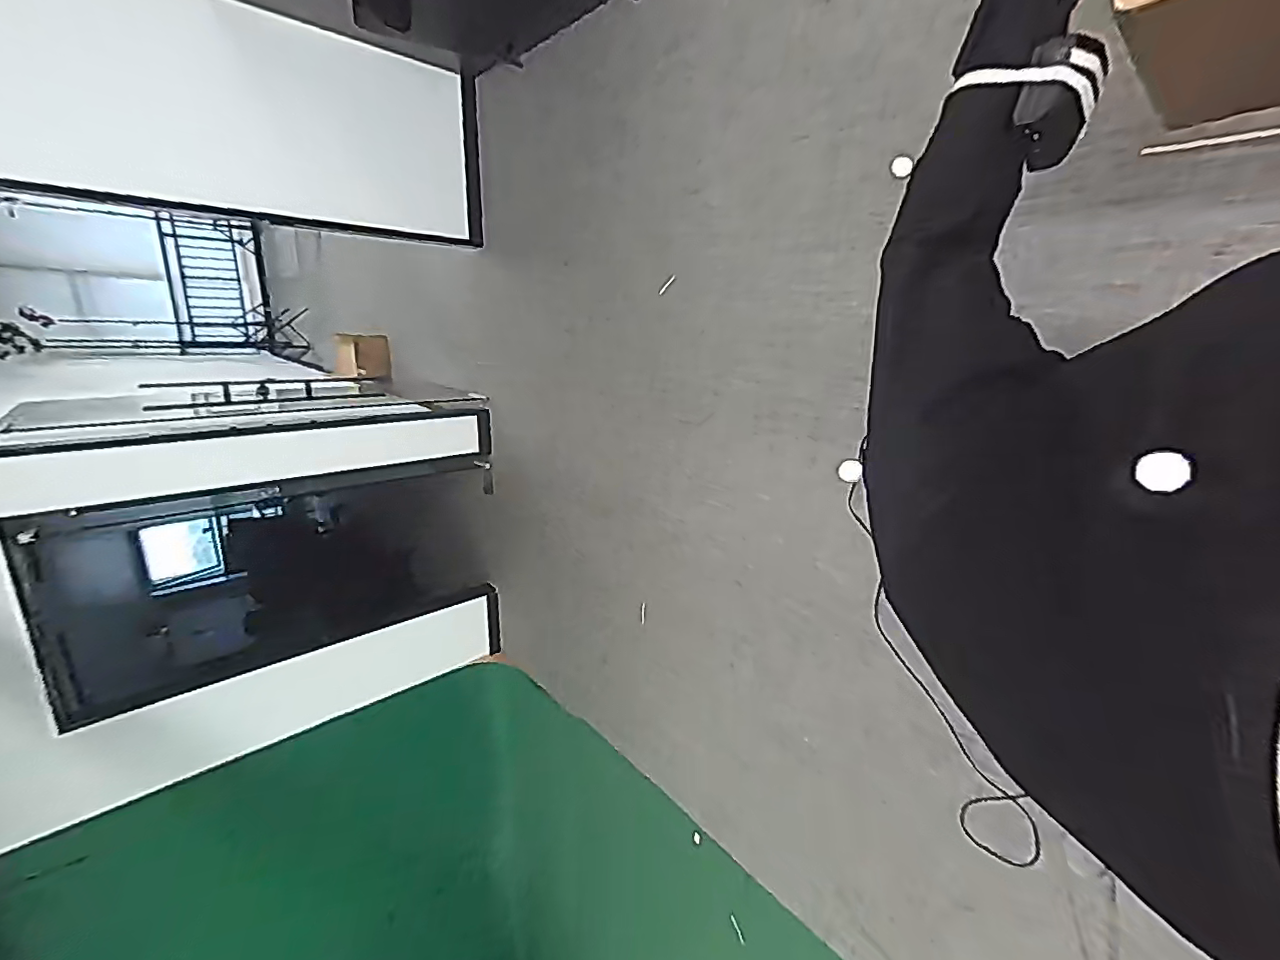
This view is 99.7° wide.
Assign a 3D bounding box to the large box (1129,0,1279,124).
[{"bbox_3d":[0.575,-0.480,0.306,0.408,0.320,0.320,11,106,46],"label":"large box"}]
